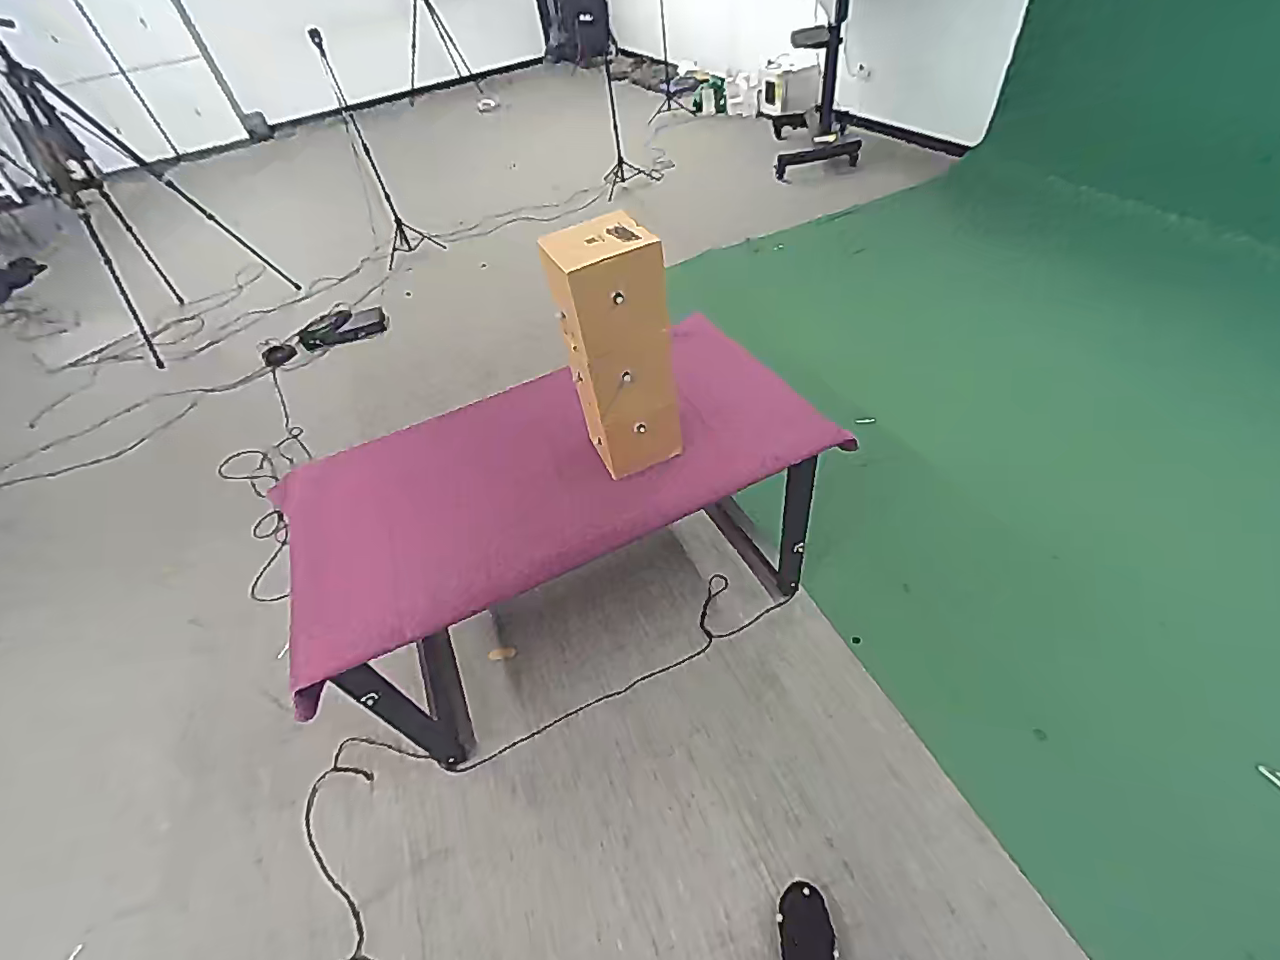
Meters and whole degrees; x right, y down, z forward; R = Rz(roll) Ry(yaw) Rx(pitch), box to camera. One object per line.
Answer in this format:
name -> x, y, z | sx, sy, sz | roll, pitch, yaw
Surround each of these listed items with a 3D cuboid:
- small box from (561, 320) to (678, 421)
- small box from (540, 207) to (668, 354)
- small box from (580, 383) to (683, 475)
small box -> -0.037, -0.249, 1.100 | 0.179, 0.176, 0.168 | -24, 50, -10
small box -> -0.058, -0.360, 0.980 | 0.179, 0.176, 0.168 | -24, 49, -11
small box -> -0.016, -0.139, 1.219 | 0.179, 0.176, 0.168 | -22, 49, -10
